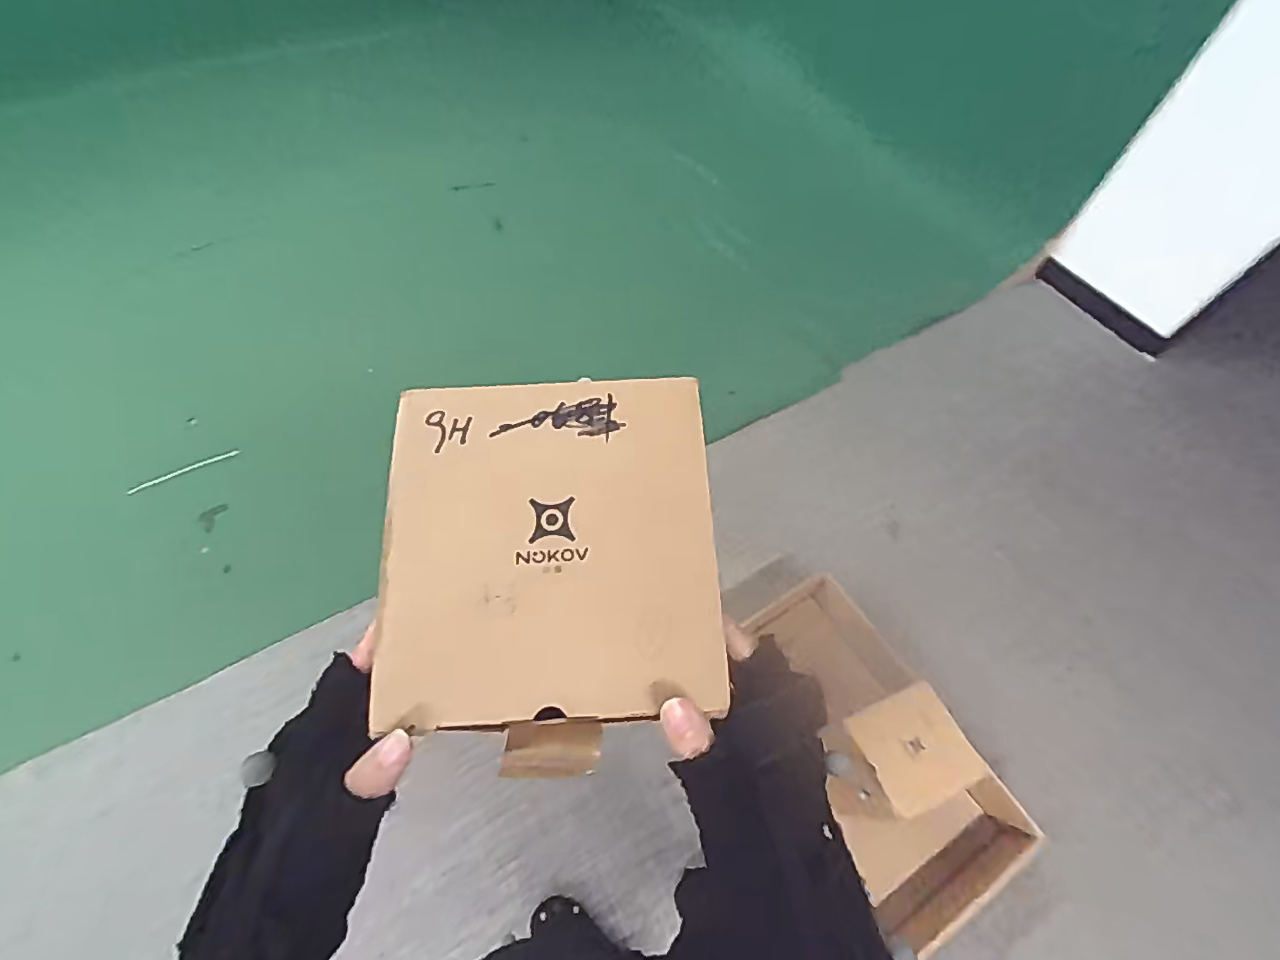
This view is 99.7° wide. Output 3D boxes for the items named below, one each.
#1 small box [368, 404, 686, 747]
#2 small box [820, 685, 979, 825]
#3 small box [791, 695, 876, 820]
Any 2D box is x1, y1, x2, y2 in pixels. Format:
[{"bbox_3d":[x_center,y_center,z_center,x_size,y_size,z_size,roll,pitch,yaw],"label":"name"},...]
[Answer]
[{"bbox_3d":[-0.062,0.069,0.372,0.168,0.176,0.179,-6,71,-1],"label":"small box"},{"bbox_3d":[0.448,0.495,0.974,0.179,0.176,0.168,-20,62,-12],"label":"small box"},{"bbox_3d":[0.442,0.580,1.130,0.168,0.176,0.179,-21,59,-12],"label":"small box"}]
